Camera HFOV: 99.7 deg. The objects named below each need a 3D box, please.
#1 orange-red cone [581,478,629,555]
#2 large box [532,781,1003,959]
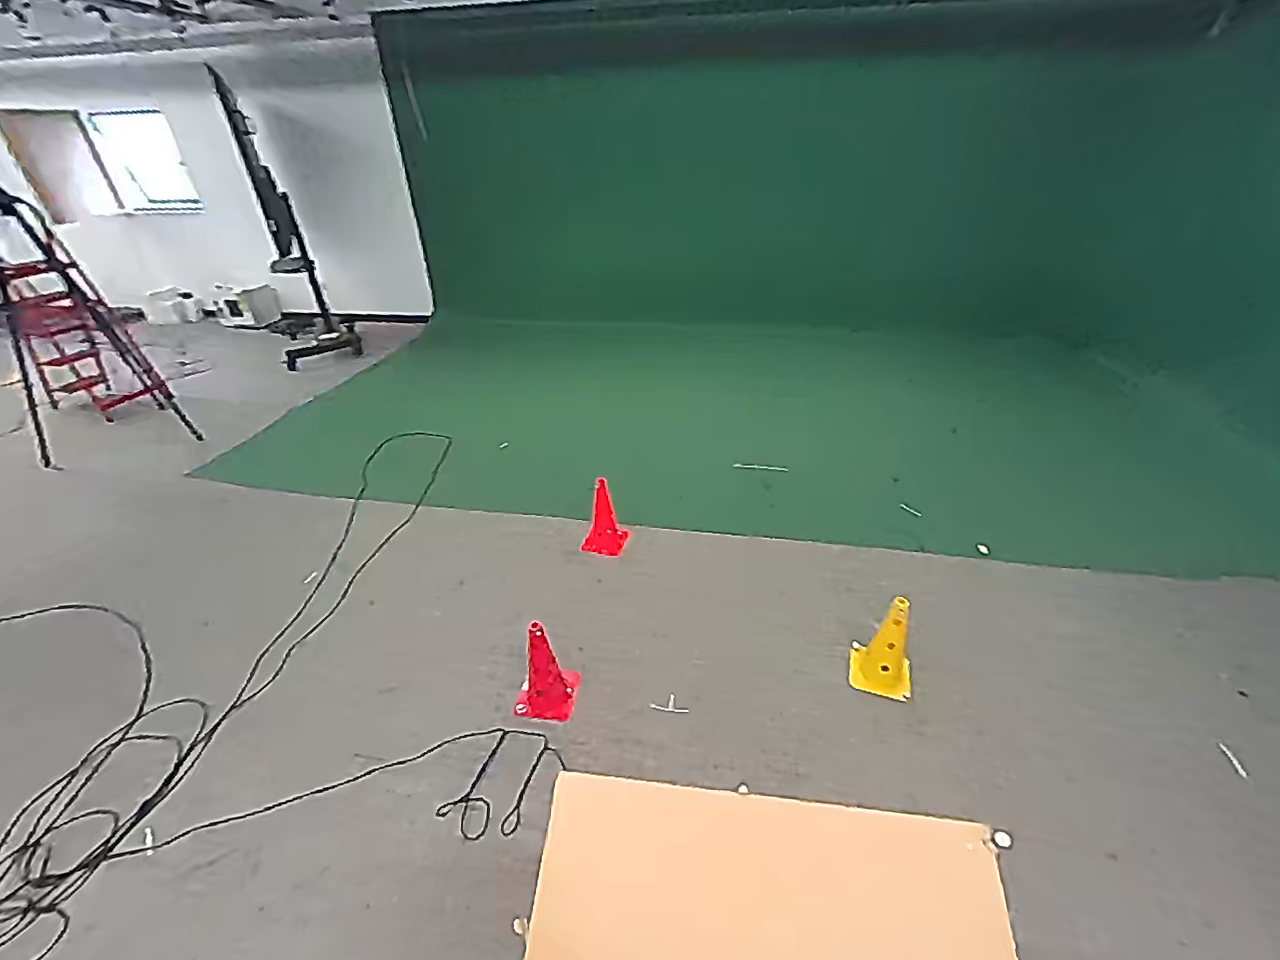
[{"bbox_3d":[-0.177,0.151,2.539,0.199,0.360,0.198,7,33,17],"label":"orange-red cone"},{"bbox_3d":[0.105,0.517,0.564,0.408,0.320,0.320,3,58,4],"label":"large box"}]
